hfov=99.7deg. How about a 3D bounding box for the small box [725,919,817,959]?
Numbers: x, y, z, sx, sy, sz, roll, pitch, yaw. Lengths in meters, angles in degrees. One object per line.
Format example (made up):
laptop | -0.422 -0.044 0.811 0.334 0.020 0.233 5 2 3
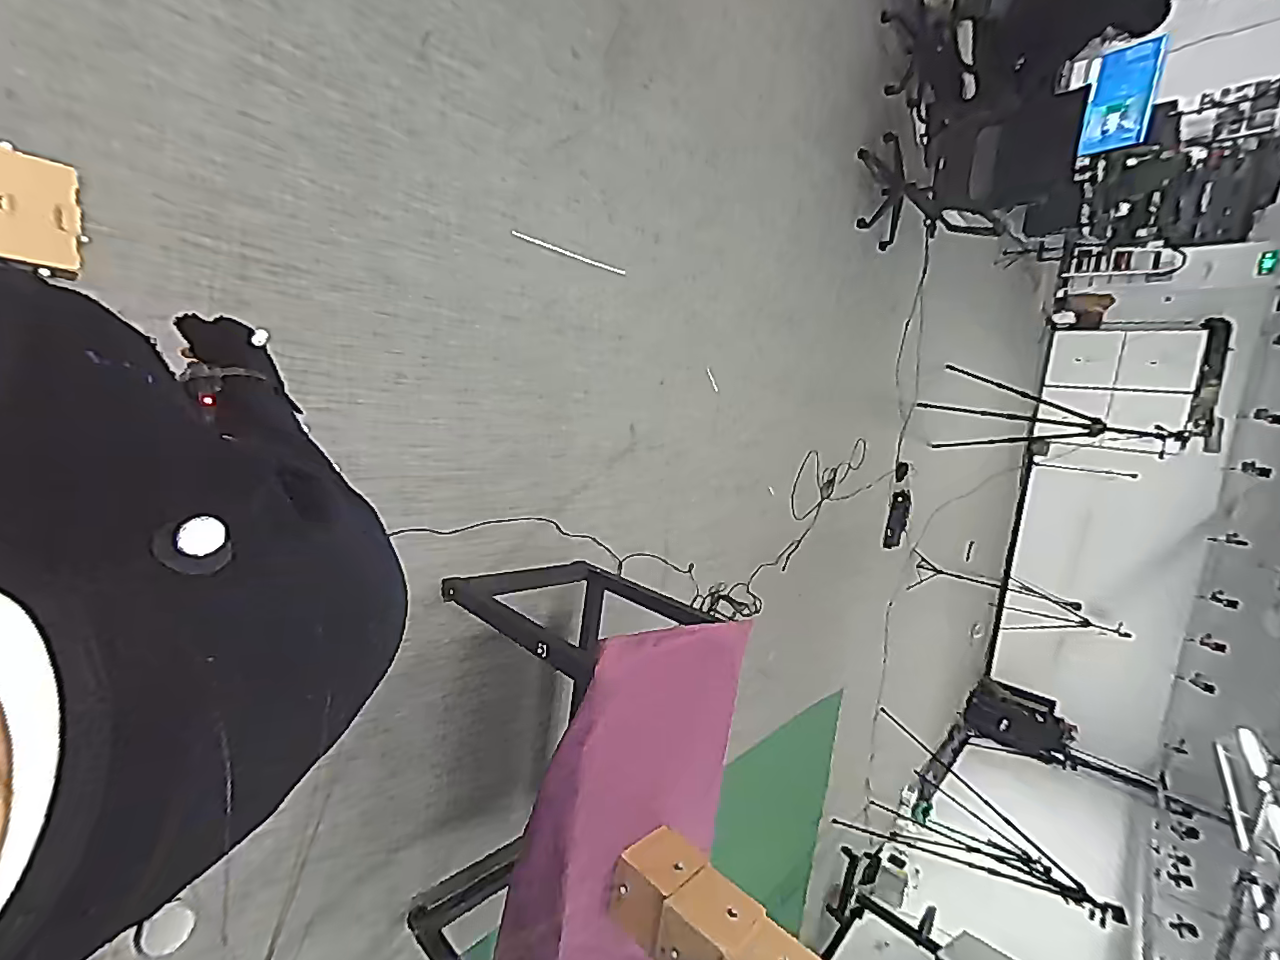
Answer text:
small box | 0.259 1.066 1.104 0.179 0.176 0.168 6 94 -49

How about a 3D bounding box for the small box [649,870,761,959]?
small box | 0.146 1.037 1.220 0.179 0.176 0.168 5 94 -48

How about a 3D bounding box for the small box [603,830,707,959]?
small box | 0.037 1.017 1.341 0.179 0.176 0.168 7 93 -48
